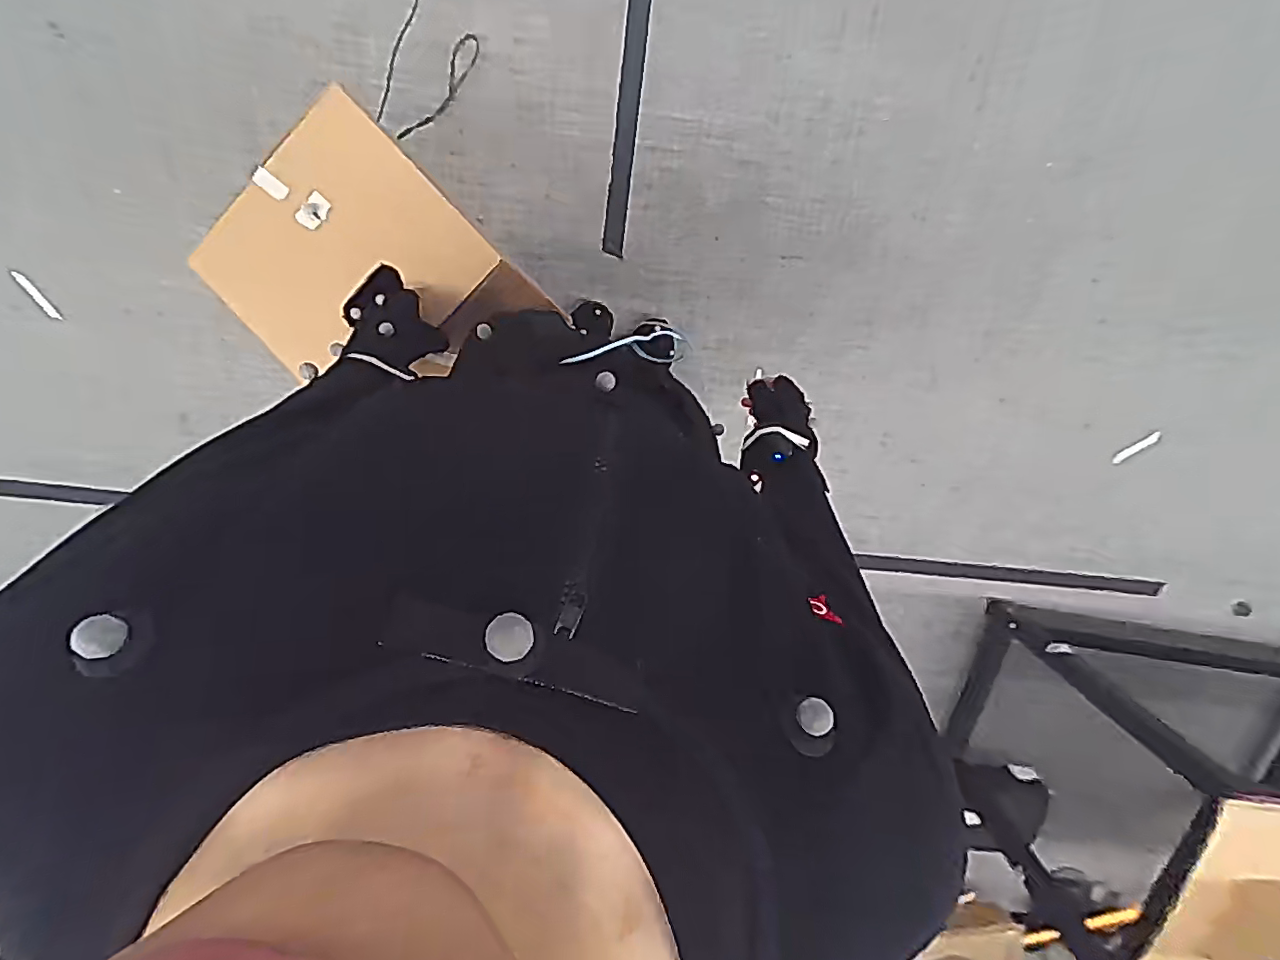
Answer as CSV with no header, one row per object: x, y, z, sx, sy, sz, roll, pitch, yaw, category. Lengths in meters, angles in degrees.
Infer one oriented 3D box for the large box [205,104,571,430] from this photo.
-0.371,-0.304,0.906,0.320,0.408,0.320,-44,91,9,large box
